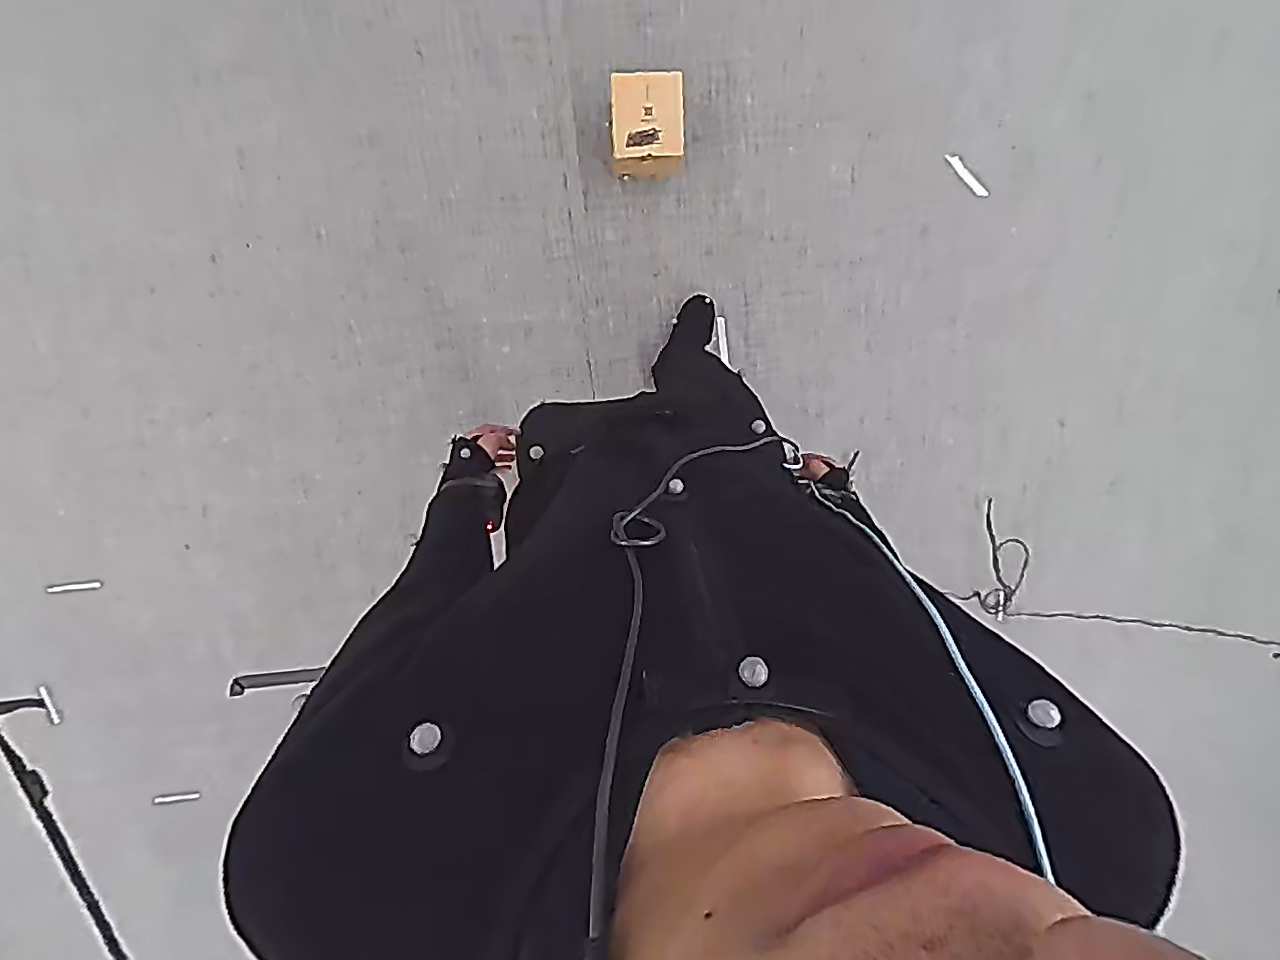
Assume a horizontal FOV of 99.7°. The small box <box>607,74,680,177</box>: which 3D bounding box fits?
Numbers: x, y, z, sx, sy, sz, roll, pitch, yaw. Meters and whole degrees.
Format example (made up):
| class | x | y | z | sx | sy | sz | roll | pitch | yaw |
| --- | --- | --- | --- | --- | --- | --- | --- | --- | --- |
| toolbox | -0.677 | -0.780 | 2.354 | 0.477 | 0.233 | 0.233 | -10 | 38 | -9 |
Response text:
| class | x | y | z | sx | sy | sz | roll | pitch | yaw |
| --- | --- | --- | --- | --- | --- | --- | --- | --- | --- |
| small box | 0.006 | -0.854 | 1.319 | 0.168 | 0.176 | 0.179 | -3 | 105 | -3 |
